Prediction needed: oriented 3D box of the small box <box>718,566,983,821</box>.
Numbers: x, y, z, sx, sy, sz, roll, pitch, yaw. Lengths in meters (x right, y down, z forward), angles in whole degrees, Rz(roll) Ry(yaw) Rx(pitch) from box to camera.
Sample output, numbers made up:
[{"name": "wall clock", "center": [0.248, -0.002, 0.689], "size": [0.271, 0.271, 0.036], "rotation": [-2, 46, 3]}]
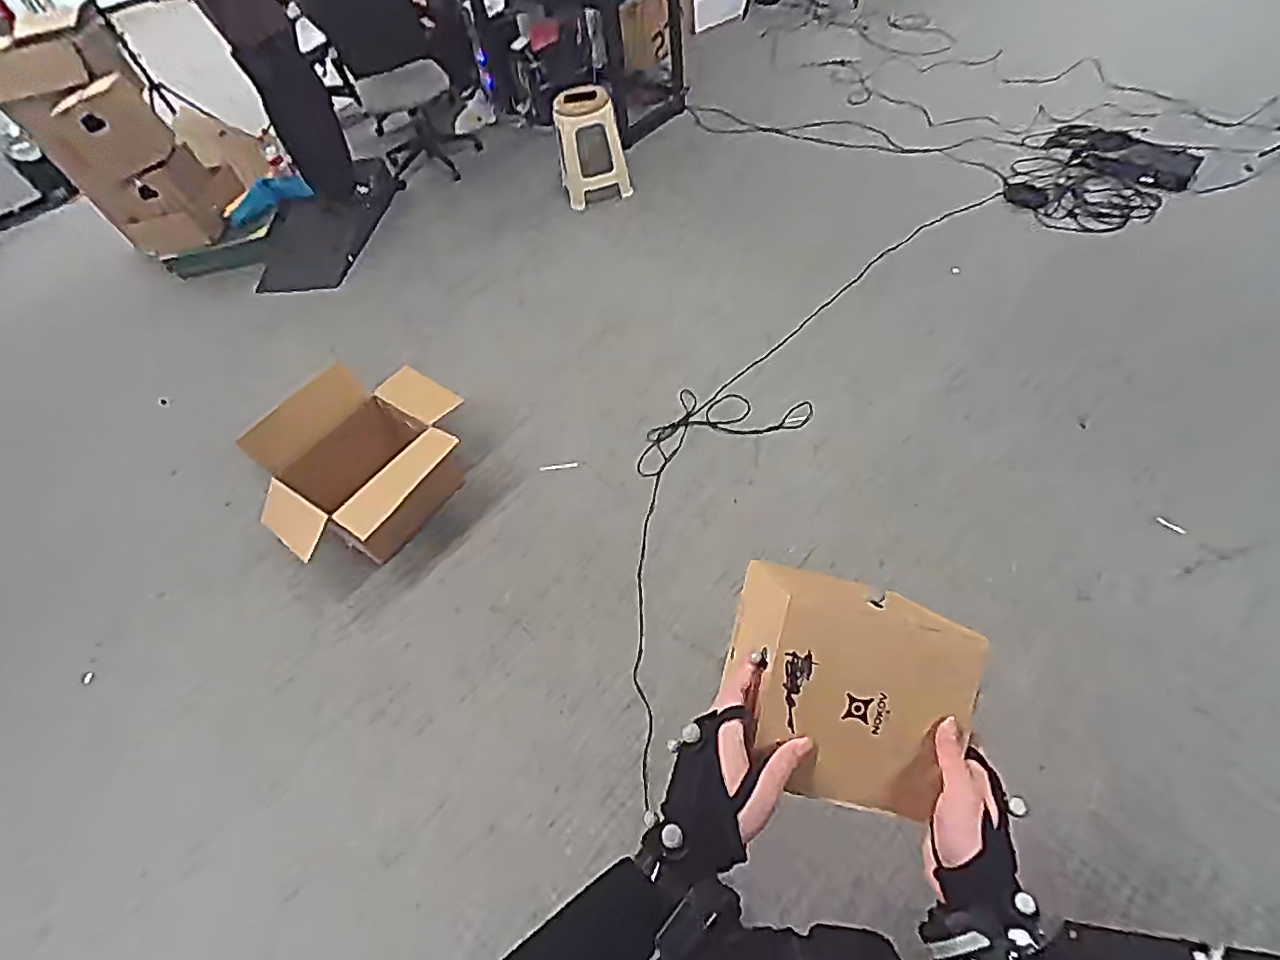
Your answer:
[{"name": "small box", "center": [0.189, 0.193, 0.540], "size": [0.179, 0.176, 0.168], "rotation": [13, 92, 0]}]
